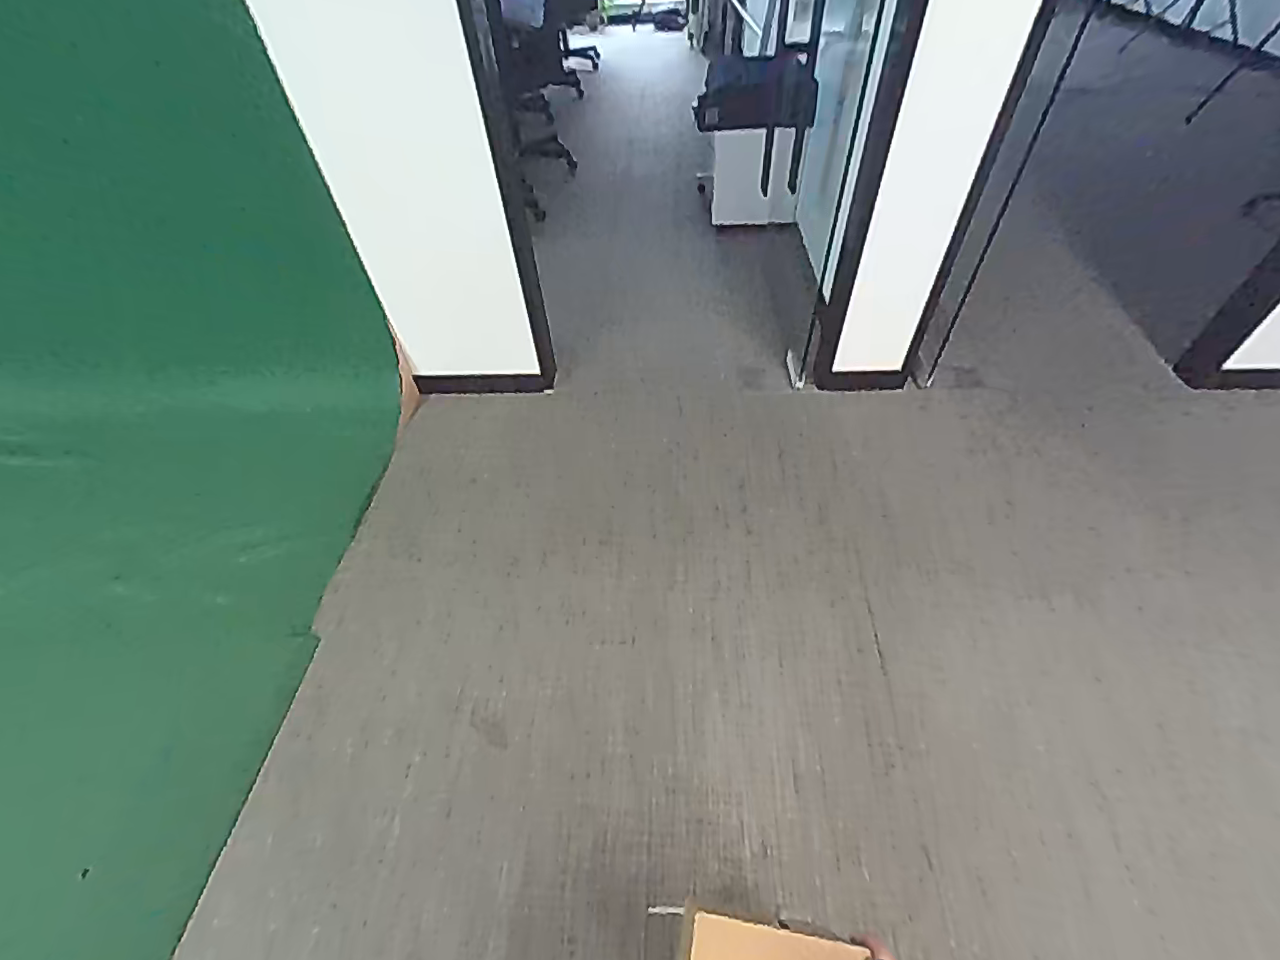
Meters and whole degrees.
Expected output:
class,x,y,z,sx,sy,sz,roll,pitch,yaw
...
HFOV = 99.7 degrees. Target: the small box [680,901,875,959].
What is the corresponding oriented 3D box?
class,x,y,z,sx,sy,sz,roll,pitch,yaw
small box,0.126,0.552,0.551,0.179,0.176,0.168,9,58,5
